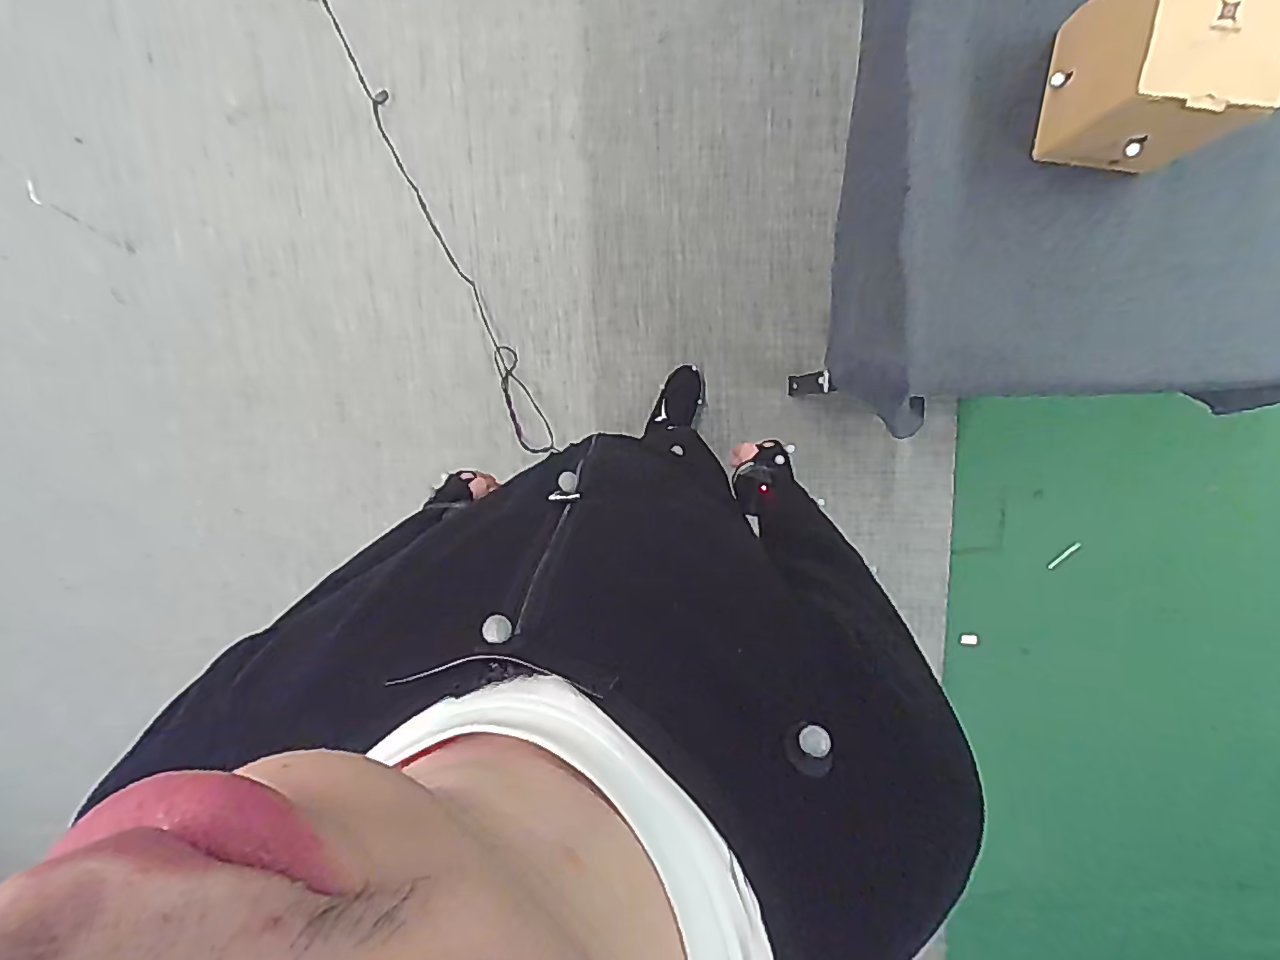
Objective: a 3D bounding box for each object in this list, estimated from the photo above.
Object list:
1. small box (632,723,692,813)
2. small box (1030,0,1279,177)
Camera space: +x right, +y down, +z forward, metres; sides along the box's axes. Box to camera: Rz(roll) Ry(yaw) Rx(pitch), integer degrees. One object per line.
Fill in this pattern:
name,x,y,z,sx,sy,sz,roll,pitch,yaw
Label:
small box,0.062,0.846,1.597,0.168,0.176,0.179,0,98,-2
small box,0.647,-0.516,0.692,0.168,0.176,0.179,7,98,-1
